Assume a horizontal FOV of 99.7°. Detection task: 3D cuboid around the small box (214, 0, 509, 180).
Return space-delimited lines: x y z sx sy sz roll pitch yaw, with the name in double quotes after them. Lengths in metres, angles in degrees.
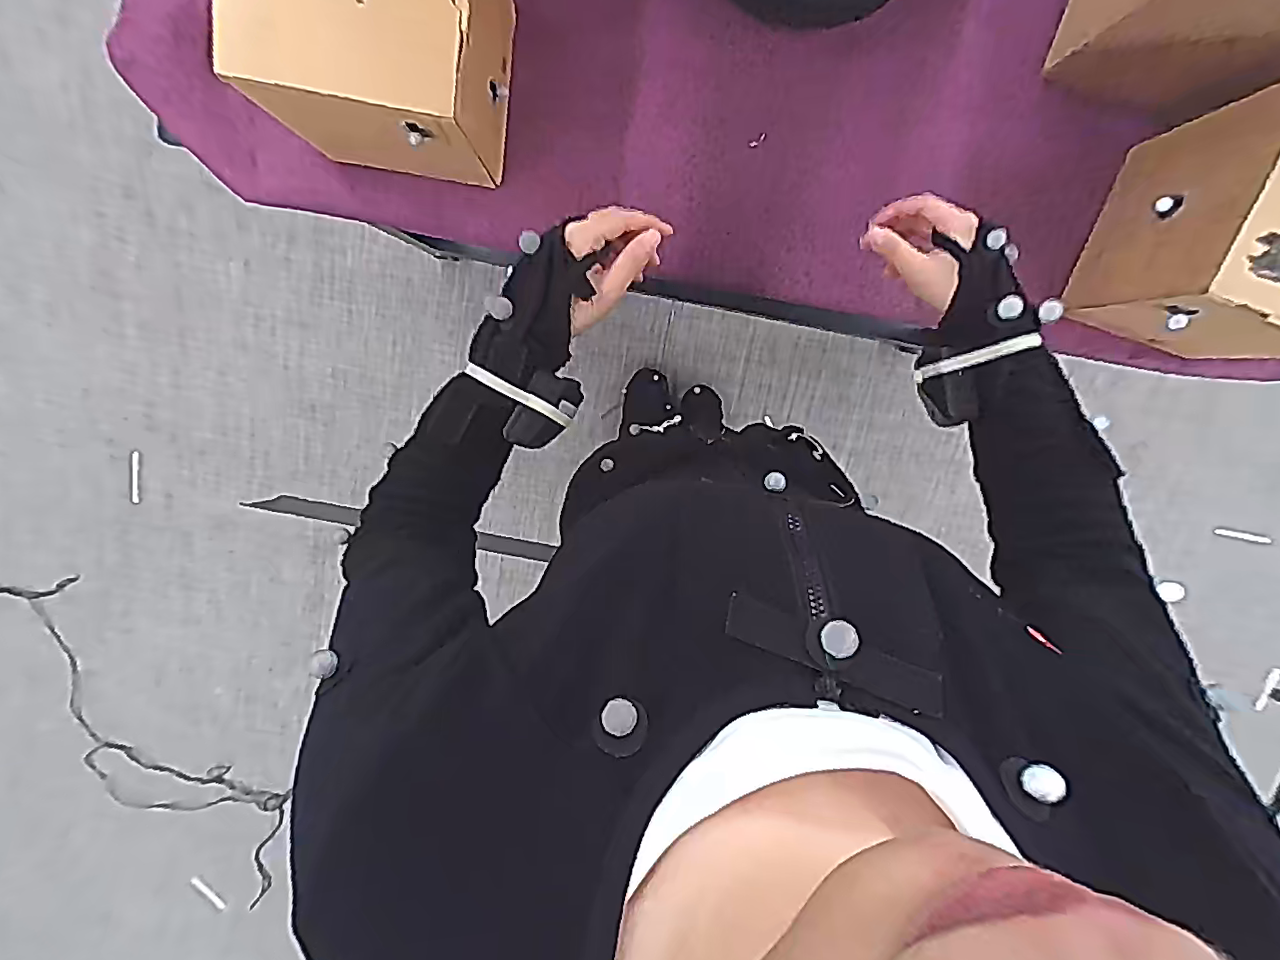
-0.223 -0.384 0.469 0.179 0.176 0.168 7 102 -5 "small box"
